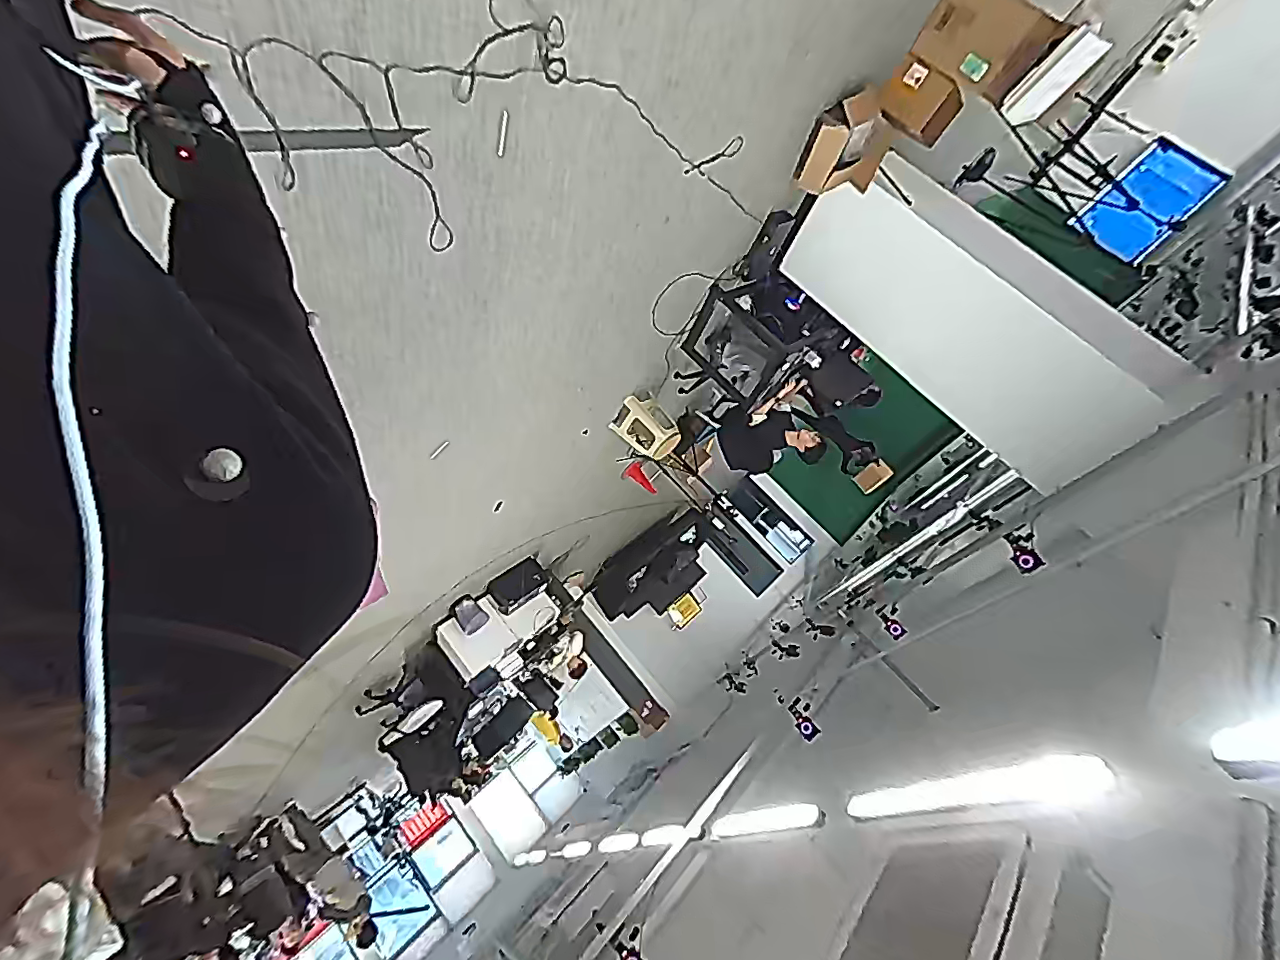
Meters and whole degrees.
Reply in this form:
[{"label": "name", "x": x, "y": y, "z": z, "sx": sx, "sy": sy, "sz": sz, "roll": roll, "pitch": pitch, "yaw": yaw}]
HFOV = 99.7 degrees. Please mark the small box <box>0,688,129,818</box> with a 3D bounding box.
[{"label": "small box", "x": -1.305, "y": 0.604, "z": 1.202, "sx": 0.179, "sy": 0.176, "sz": 0.168, "roll": -31, "pitch": 162, "yaw": -40}]
